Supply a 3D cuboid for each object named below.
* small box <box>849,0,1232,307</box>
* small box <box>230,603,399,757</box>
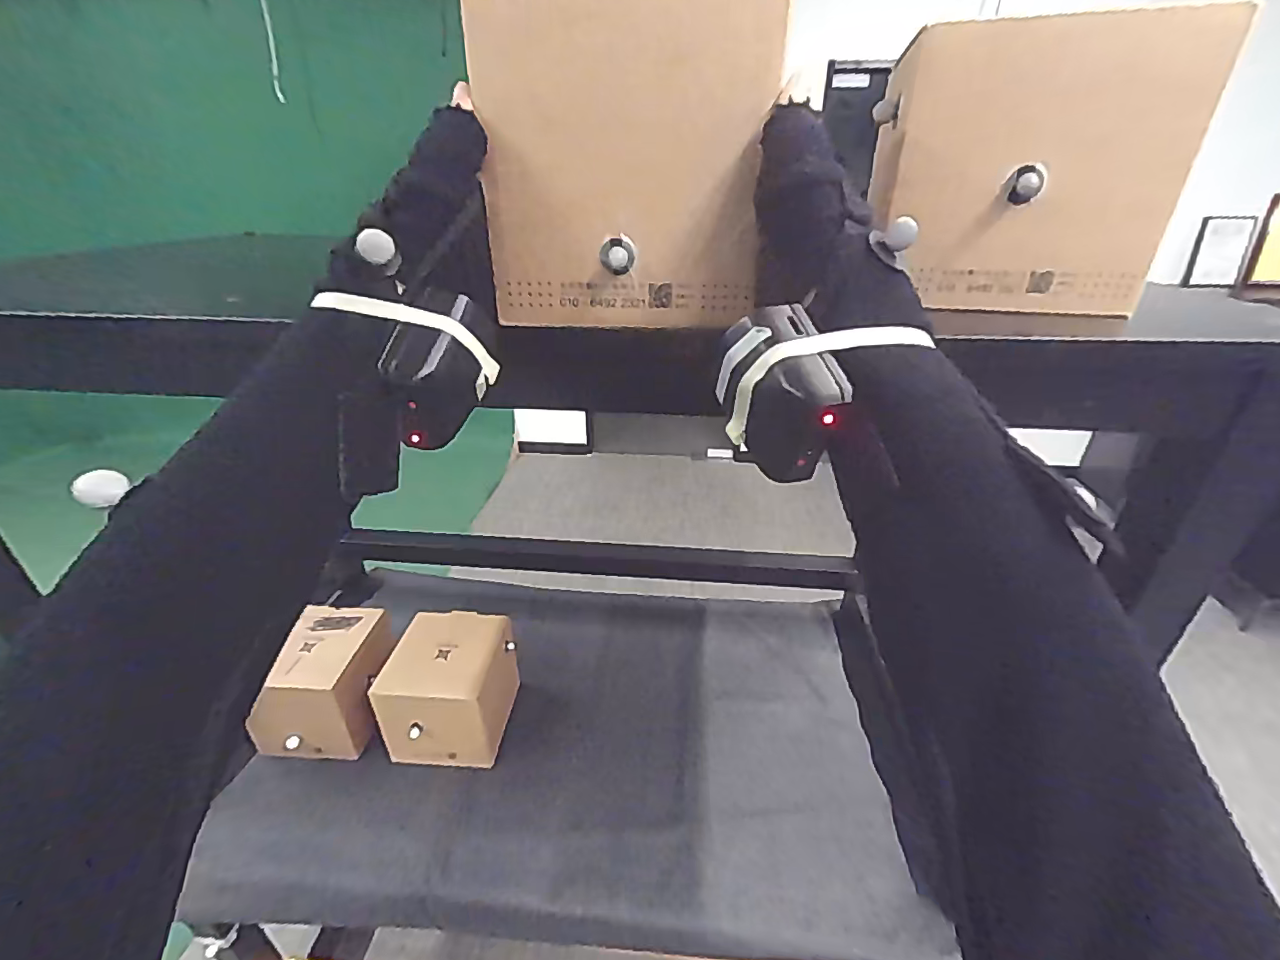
[{"bbox_3d":[0.262,-0.233,0.412,0.168,0.176,0.179,8,29,14],"label":"small box"},{"bbox_3d":[-0.528,0.332,0.911,0.168,0.176,0.179,1,29,3],"label":"small box"}]
